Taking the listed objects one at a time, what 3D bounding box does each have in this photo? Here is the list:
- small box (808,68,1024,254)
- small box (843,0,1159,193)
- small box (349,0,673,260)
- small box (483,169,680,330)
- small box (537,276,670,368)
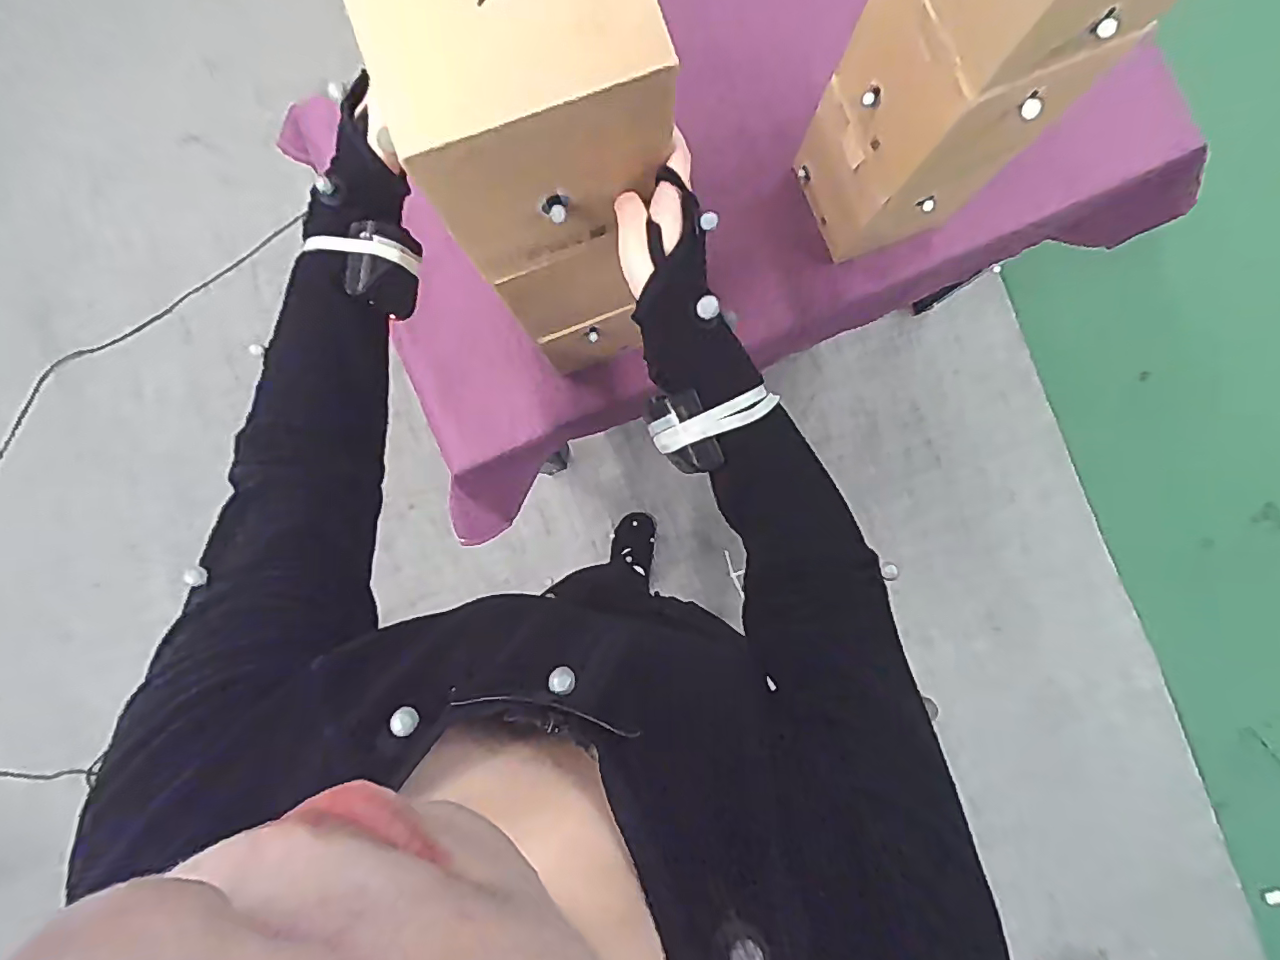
[{"bbox_3d":[0.338,-0.428,0.708,0.179,0.176,0.168,-22,89,0],"label":"small box"},{"bbox_3d":[0.338,-0.433,0.545,0.179,0.176,0.168,-22,89,1],"label":"small box"},{"bbox_3d":[-0.081,-0.281,0.383,0.168,0.176,0.179,-19,88,0],"label":"small box"},{"bbox_3d":[-0.071,-0.274,0.548,0.179,0.176,0.168,-19,88,1],"label":"small box"},{"bbox_3d":[-0.069,-0.270,0.711,0.168,0.176,0.179,-21,88,1],"label":"small box"}]
